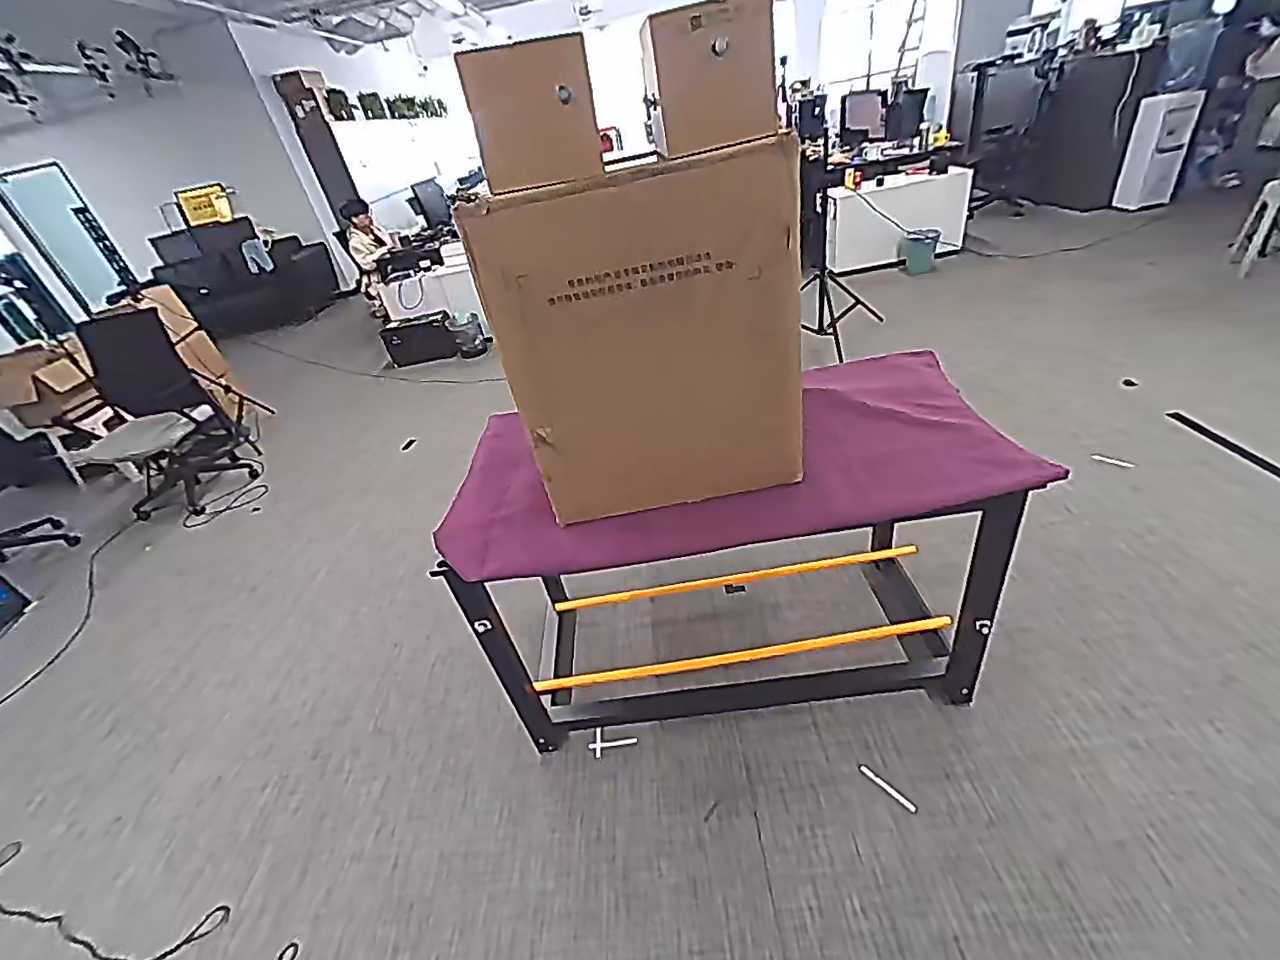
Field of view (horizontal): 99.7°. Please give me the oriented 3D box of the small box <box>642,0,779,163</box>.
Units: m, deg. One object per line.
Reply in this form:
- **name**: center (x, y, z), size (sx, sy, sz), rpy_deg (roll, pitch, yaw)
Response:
- **small box**: center (0.101, -0.592, 0.807), size (0.168, 0.176, 0.179), rpy_deg (-12, 34, 3)
